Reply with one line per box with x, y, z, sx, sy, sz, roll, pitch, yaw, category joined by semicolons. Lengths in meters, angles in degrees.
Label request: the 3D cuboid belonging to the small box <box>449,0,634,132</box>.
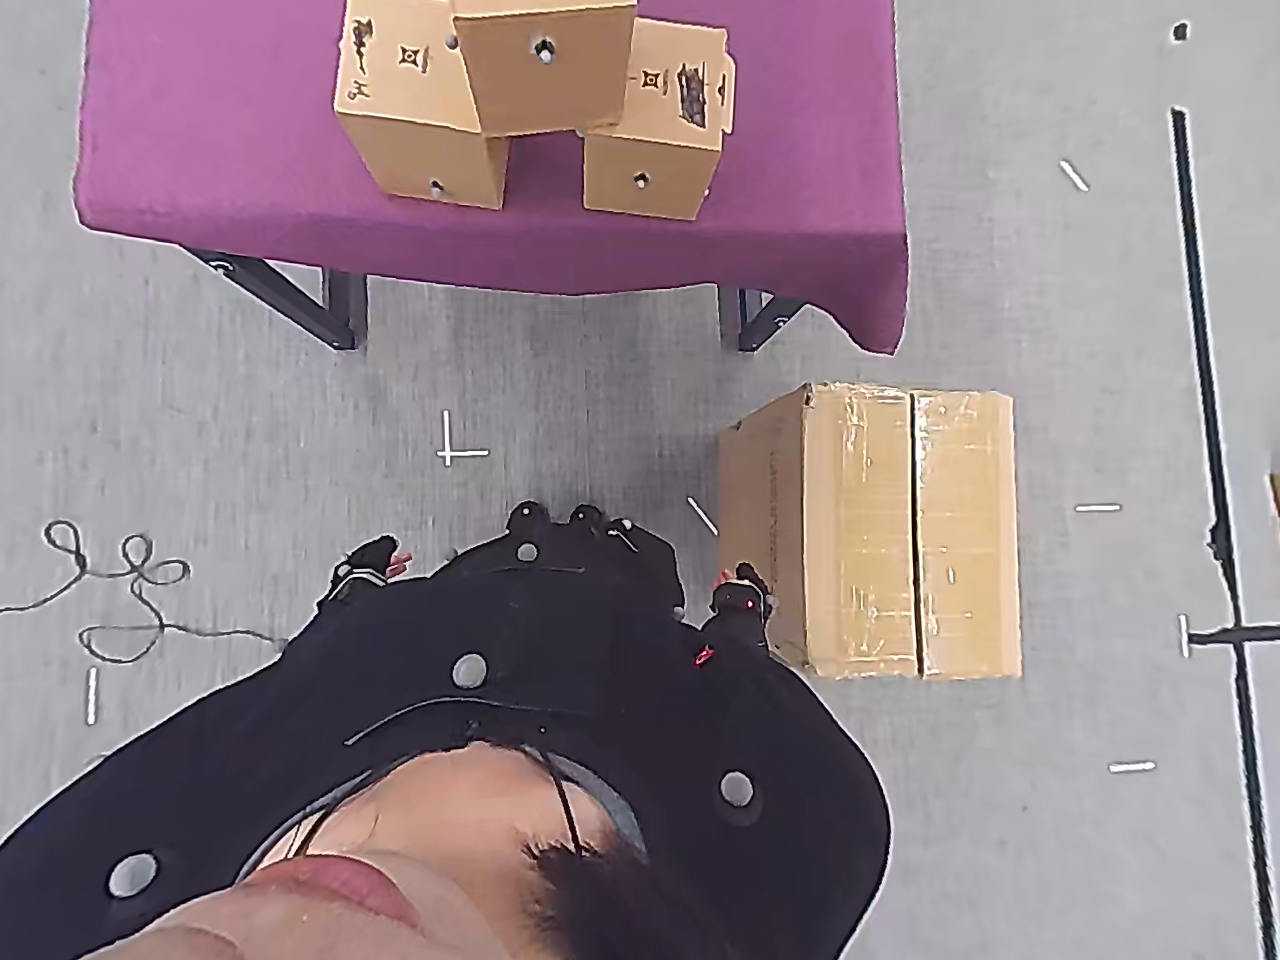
-0.110;-0.514;0.589;0.179;0.176;0.168;-11;89;-8;small box

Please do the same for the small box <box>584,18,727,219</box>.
0.014;-0.496;0.766;0.179;0.176;0.168;4;85;-5;small box

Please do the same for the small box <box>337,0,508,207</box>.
-0.276;-0.500;0.733;0.179;0.176;0.168;5;85;-7;small box
